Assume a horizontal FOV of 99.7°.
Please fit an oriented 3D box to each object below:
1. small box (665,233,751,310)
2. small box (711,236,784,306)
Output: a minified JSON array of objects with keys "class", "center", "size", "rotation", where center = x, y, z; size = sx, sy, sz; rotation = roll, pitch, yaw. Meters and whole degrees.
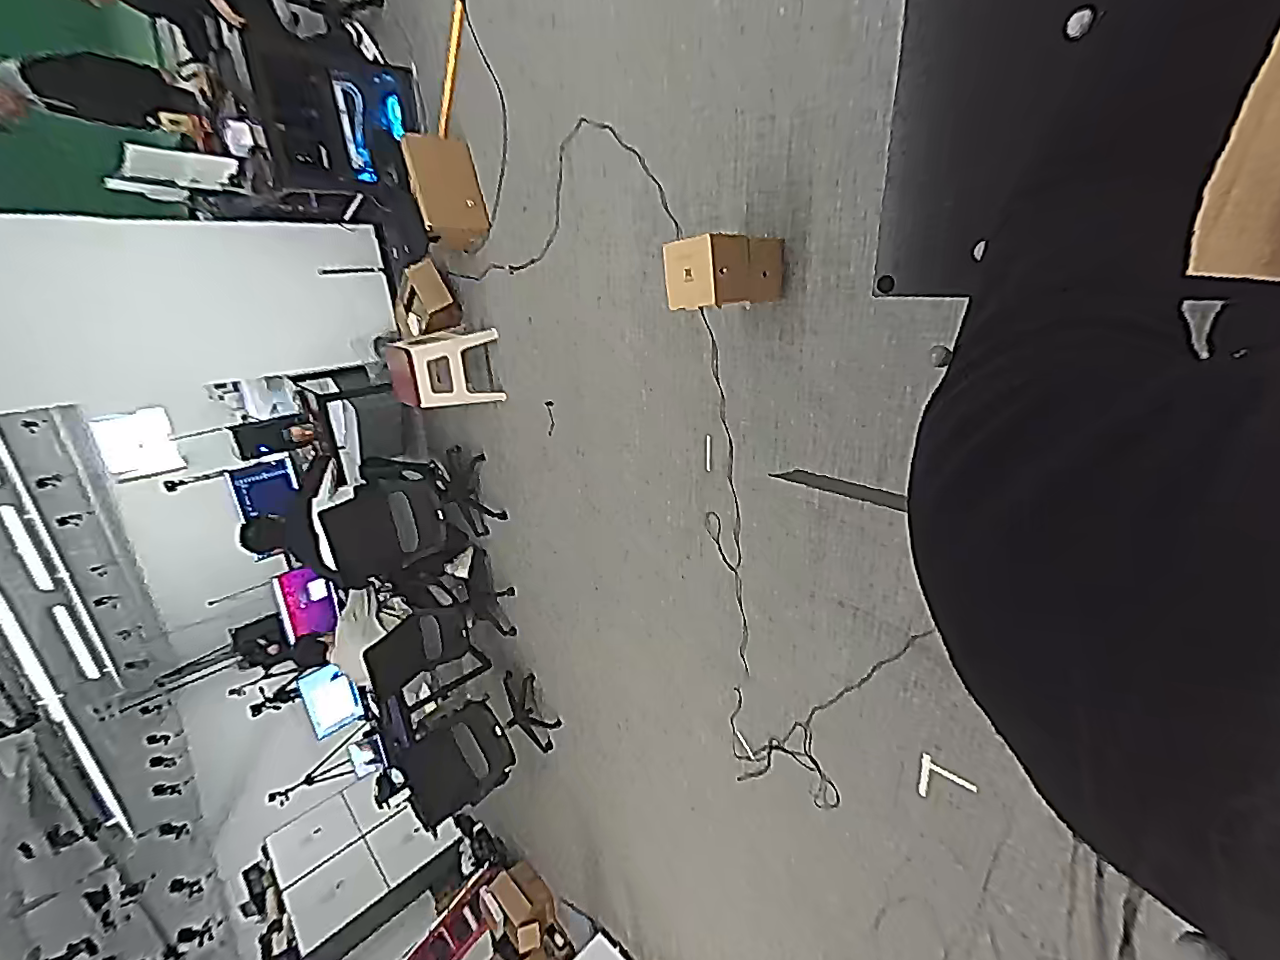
[{"class":"small box","center":[0.191,-0.571,1.483],"size":[0.168,0.176,0.179],"rotation":[10,113,45]},{"class":"small box","center":[0.308,-0.612,1.588],"size":[0.168,0.176,0.179],"rotation":[14,118,45]}]
